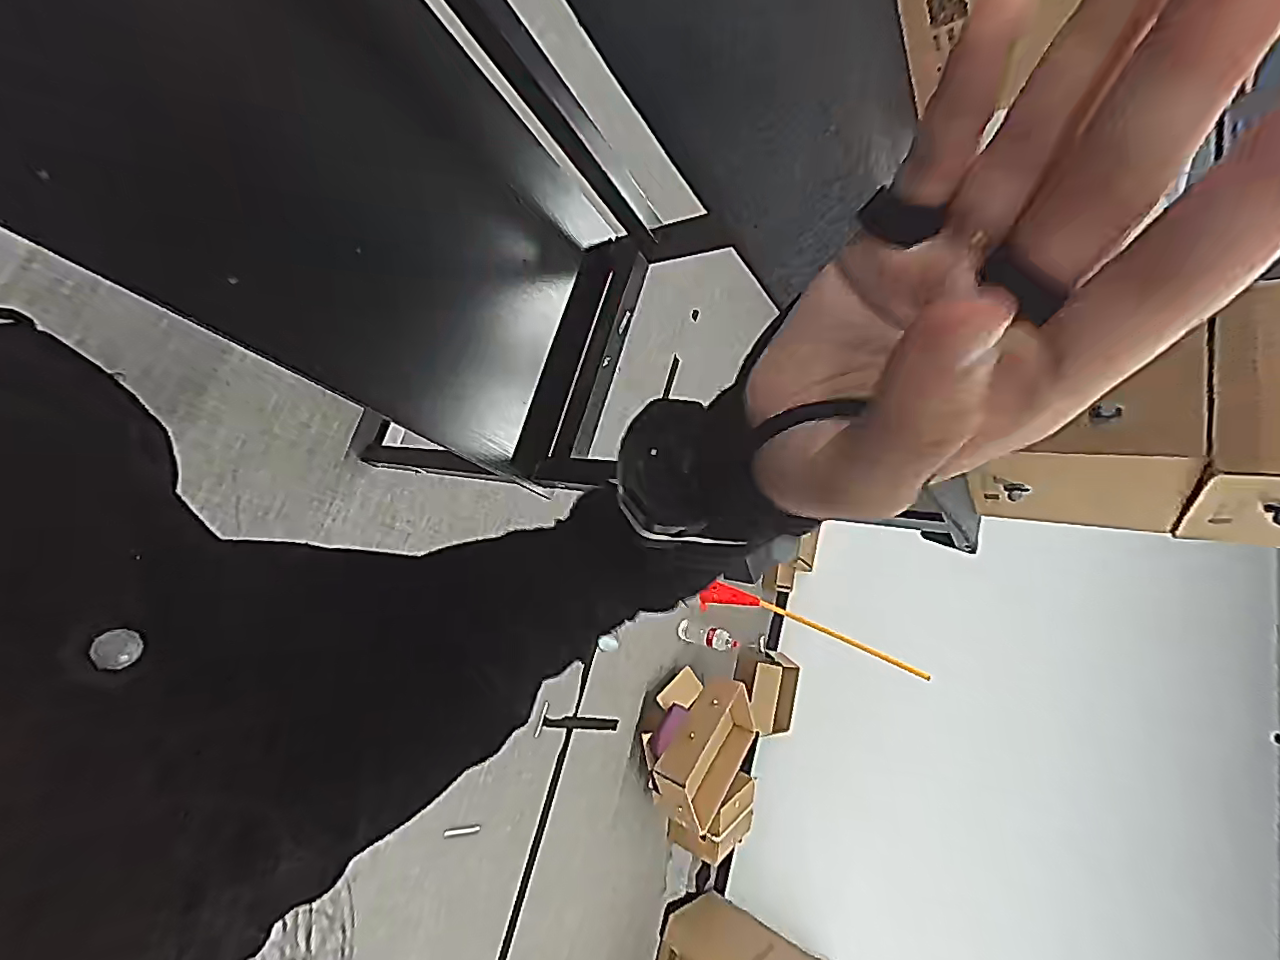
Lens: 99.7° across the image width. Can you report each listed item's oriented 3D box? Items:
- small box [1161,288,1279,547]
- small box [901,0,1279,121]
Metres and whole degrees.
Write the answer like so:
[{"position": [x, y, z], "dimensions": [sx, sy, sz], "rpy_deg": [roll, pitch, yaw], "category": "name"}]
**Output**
[{"position": [0.562, -0.048, 0.445], "dimensions": [0.168, 0.176, 0.179], "rpy_deg": [34, 68, -48], "category": "small box"}, {"position": [0.197, -0.290, 0.209], "dimensions": [0.168, 0.176, 0.179], "rpy_deg": [33, 67, -50], "category": "small box"}]
